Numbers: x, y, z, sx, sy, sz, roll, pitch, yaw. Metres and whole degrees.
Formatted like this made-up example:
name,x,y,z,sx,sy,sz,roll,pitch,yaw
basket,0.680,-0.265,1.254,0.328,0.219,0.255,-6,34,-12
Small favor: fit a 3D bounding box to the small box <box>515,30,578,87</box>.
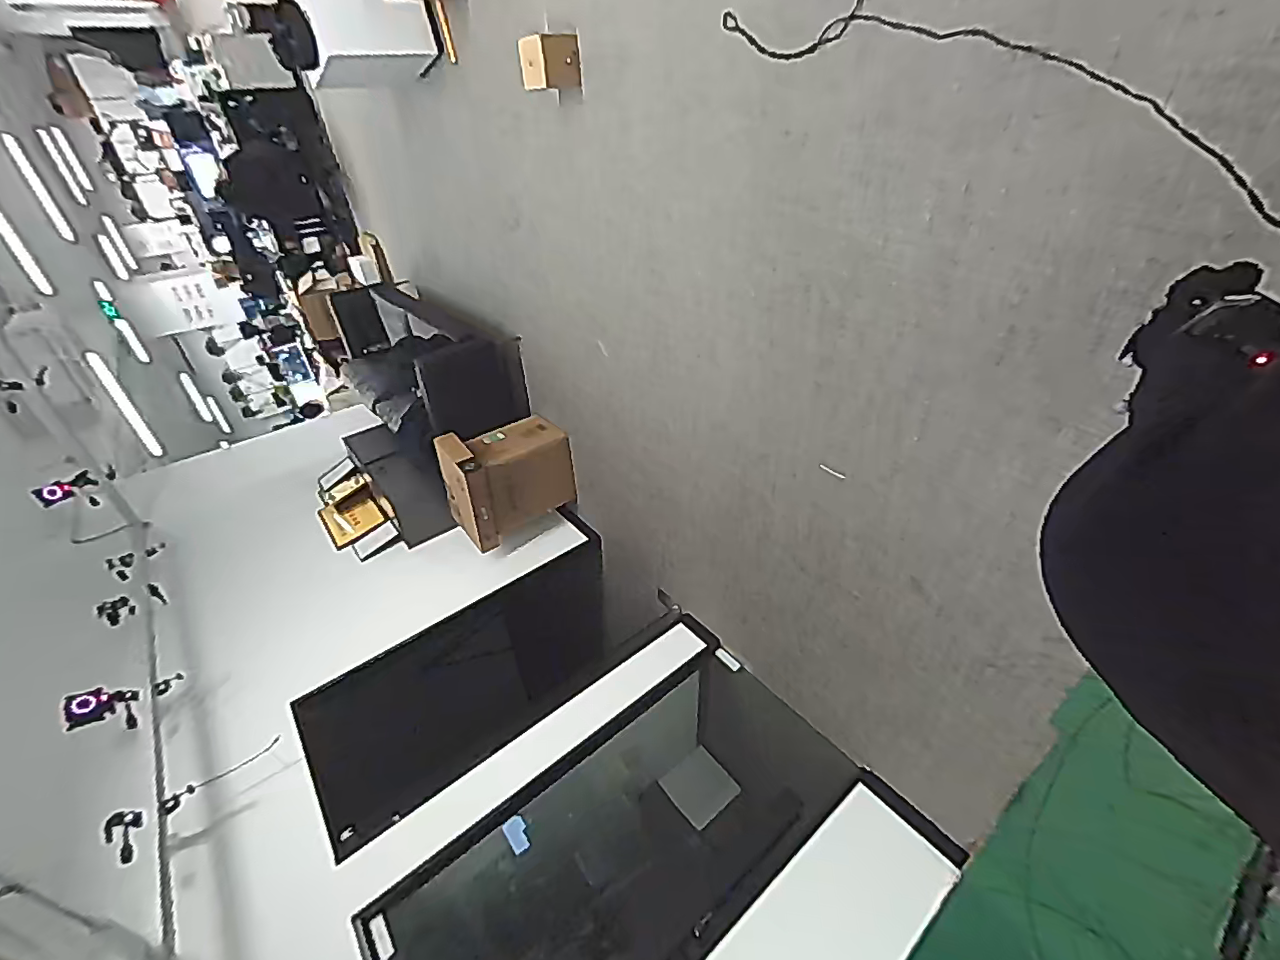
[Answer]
name,x,y,z,sx,sy,sz,roll,pitch,yaw
small box,-0.366,-1.656,2.127,0.179,0.176,0.168,33,141,41
